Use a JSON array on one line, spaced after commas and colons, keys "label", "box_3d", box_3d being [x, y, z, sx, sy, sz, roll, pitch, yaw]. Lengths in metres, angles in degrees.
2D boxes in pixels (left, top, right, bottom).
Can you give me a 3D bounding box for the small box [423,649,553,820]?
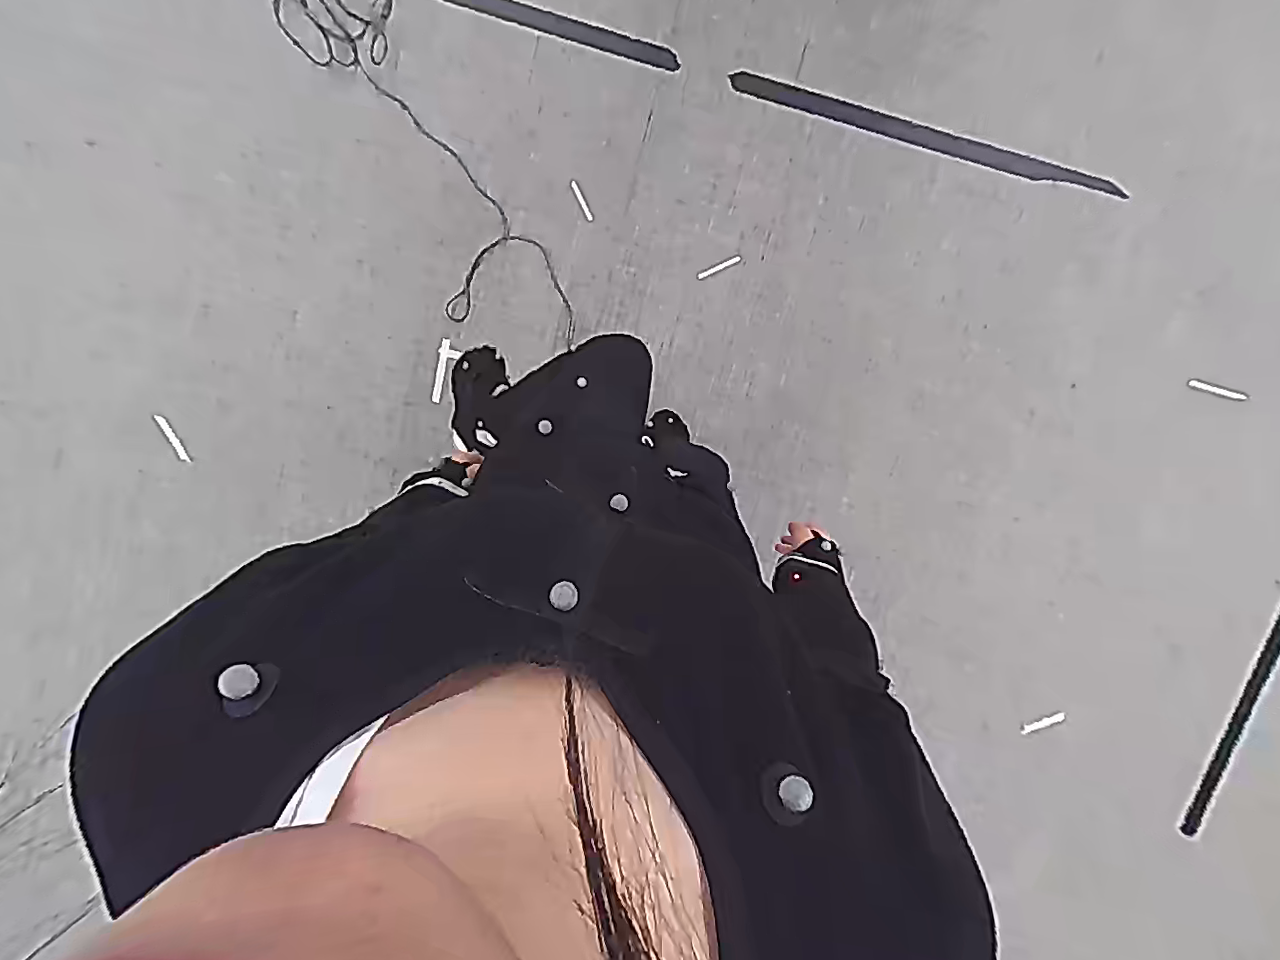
[{"label": "small box", "box_3d": [-0.241, 0.387, 0.828, 0.168, 0.176, 0.179, 18, 98, -1]}]
